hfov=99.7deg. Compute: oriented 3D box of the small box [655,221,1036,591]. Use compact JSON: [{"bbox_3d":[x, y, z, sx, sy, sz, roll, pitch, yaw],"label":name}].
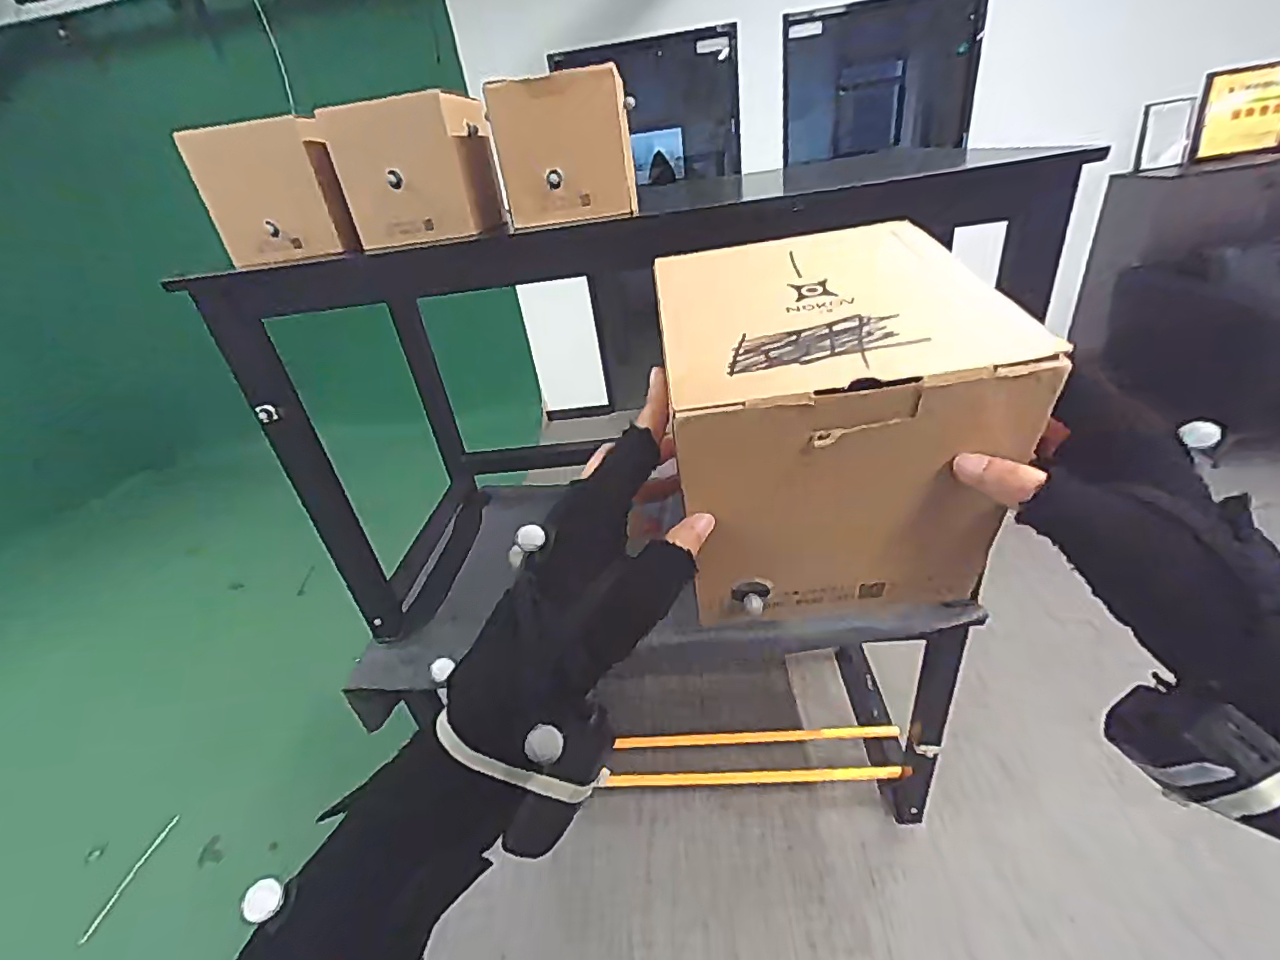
[{"bbox_3d":[0.103,-0.043,0.353,0.168,0.176,0.179,-7,41,5],"label":"small box"}]
